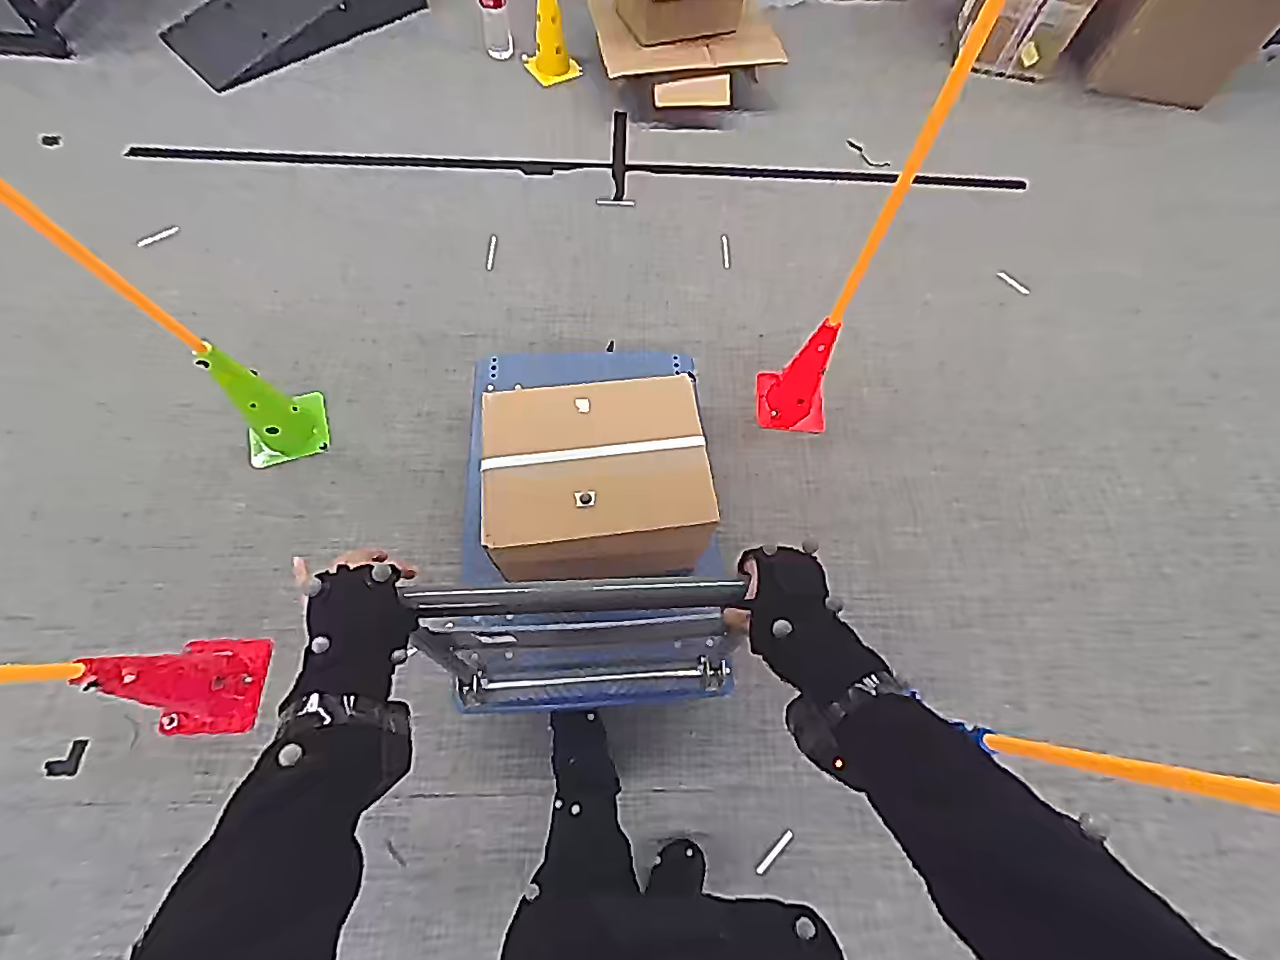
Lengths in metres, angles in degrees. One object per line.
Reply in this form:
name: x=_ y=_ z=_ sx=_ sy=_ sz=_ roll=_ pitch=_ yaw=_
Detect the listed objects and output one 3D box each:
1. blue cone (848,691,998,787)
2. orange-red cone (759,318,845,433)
blue cone: x=0.596 y=0.521 z=1.097 sx=0.193 sy=0.380 sz=0.192 roll=-2 pitch=64 yaw=-5
orange-red cone: x=0.467 y=-0.305 z=1.458 sx=0.199 sy=0.360 sz=0.198 roll=7 pitch=66 yaw=-1
